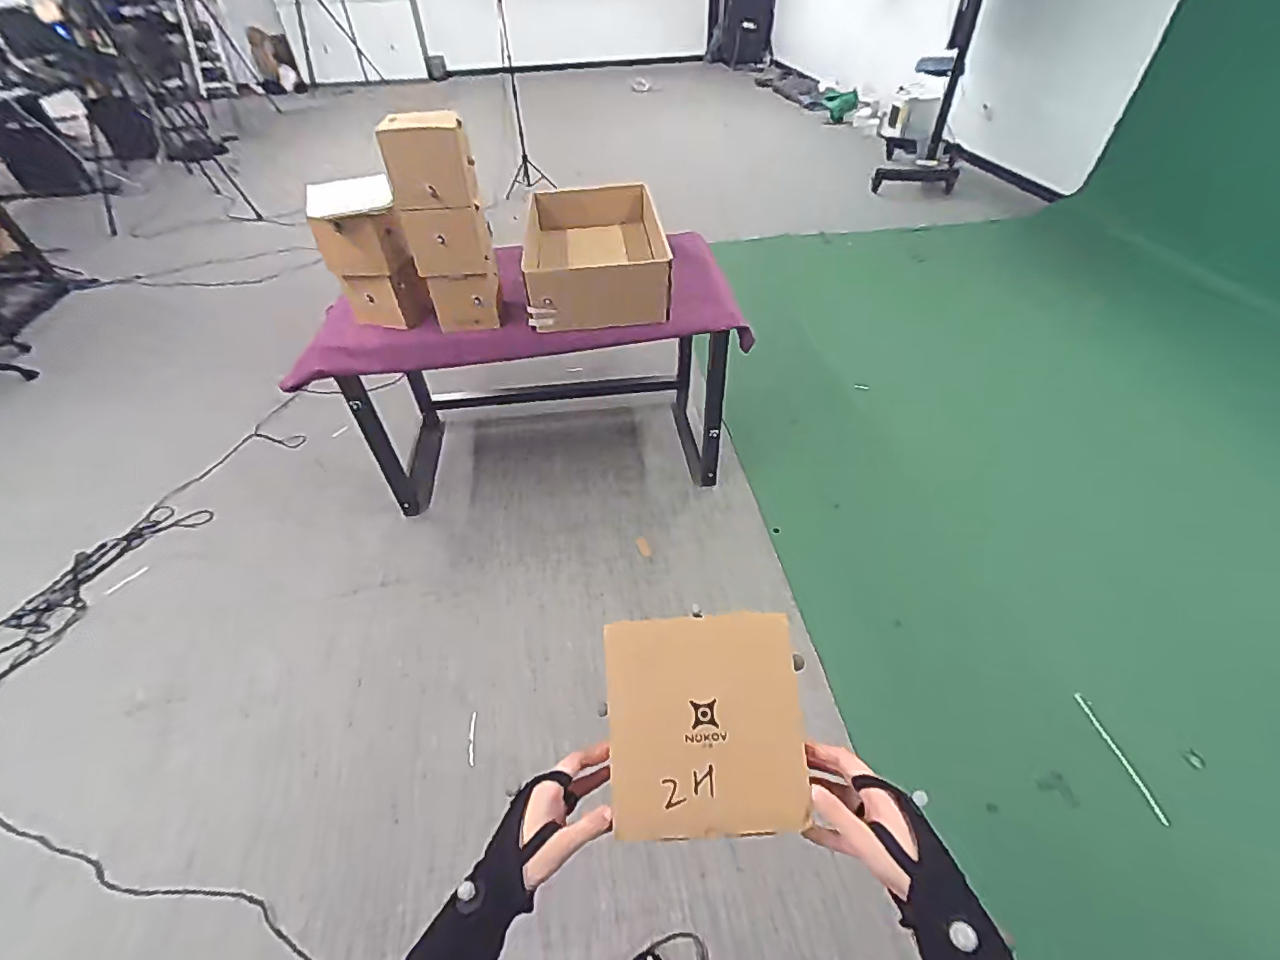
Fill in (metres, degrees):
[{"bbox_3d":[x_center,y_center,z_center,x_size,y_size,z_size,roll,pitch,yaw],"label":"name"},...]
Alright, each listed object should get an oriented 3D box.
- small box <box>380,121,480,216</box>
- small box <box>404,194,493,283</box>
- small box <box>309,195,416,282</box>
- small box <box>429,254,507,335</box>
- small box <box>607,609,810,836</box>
[{"bbox_3d":[-0.495,-0.752,1.308,0.179,0.176,0.168,-5,43,-4],"label":"small box"},{"bbox_3d":[-0.492,-0.634,1.422,0.179,0.176,0.168,-5,43,-4],"label":"small box"},{"bbox_3d":[-0.724,-0.641,1.440,0.179,0.176,0.168,3,45,6],"label":"small box"},{"bbox_3d":[-0.482,-0.526,1.545,0.168,0.176,0.179,-5,44,-4],"label":"small box"},{"bbox_3d":[0.058,0.225,0.539,0.168,0.176,0.179,-4,75,3],"label":"small box"}]
